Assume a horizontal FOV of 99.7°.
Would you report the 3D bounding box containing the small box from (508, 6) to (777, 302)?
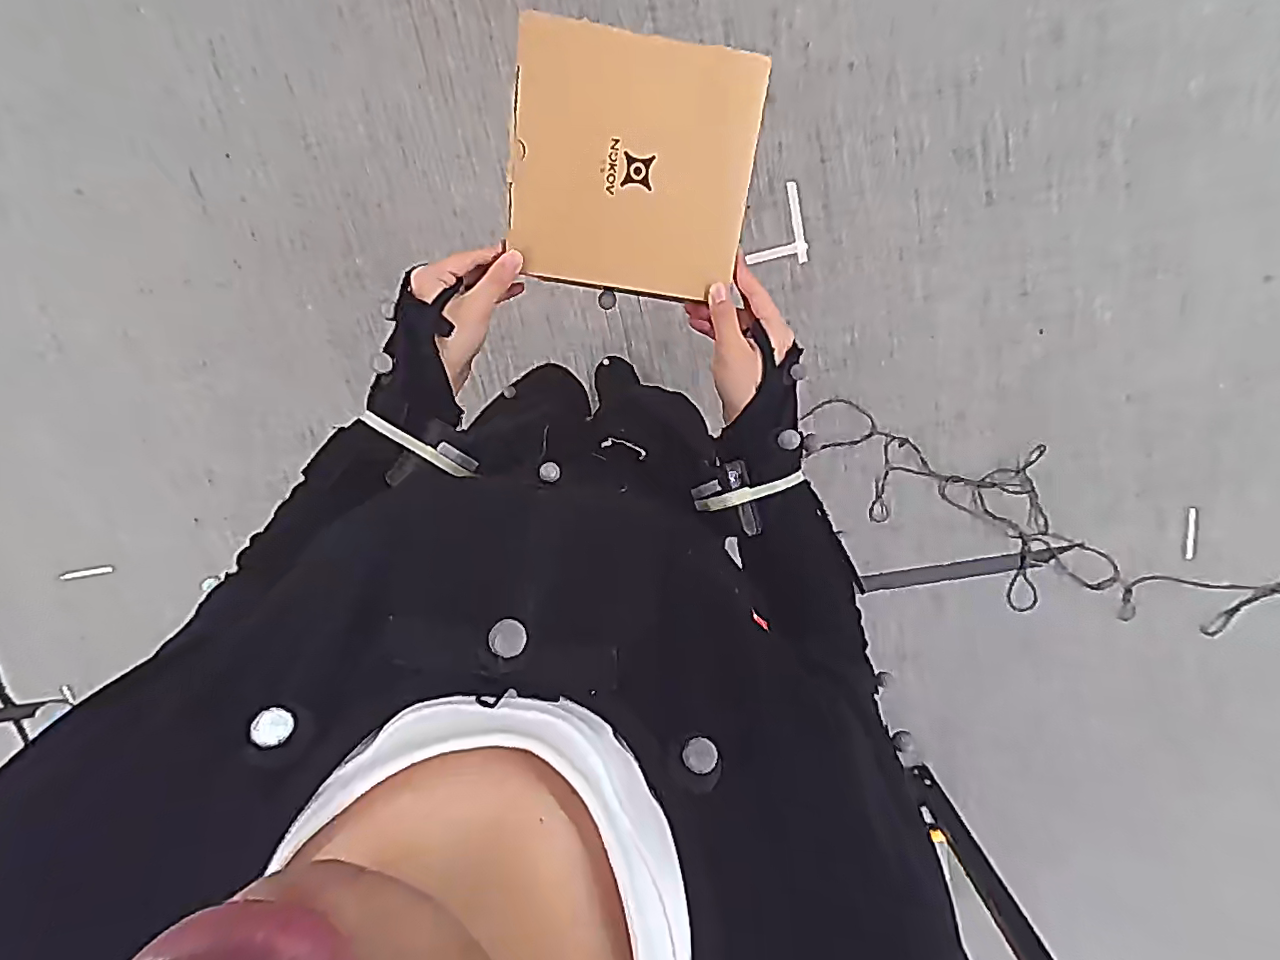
[{"bbox_3d":[-0.004,-0.253,0.465,0.179,0.176,0.168,8,108,-3],"label":"small box"}]
